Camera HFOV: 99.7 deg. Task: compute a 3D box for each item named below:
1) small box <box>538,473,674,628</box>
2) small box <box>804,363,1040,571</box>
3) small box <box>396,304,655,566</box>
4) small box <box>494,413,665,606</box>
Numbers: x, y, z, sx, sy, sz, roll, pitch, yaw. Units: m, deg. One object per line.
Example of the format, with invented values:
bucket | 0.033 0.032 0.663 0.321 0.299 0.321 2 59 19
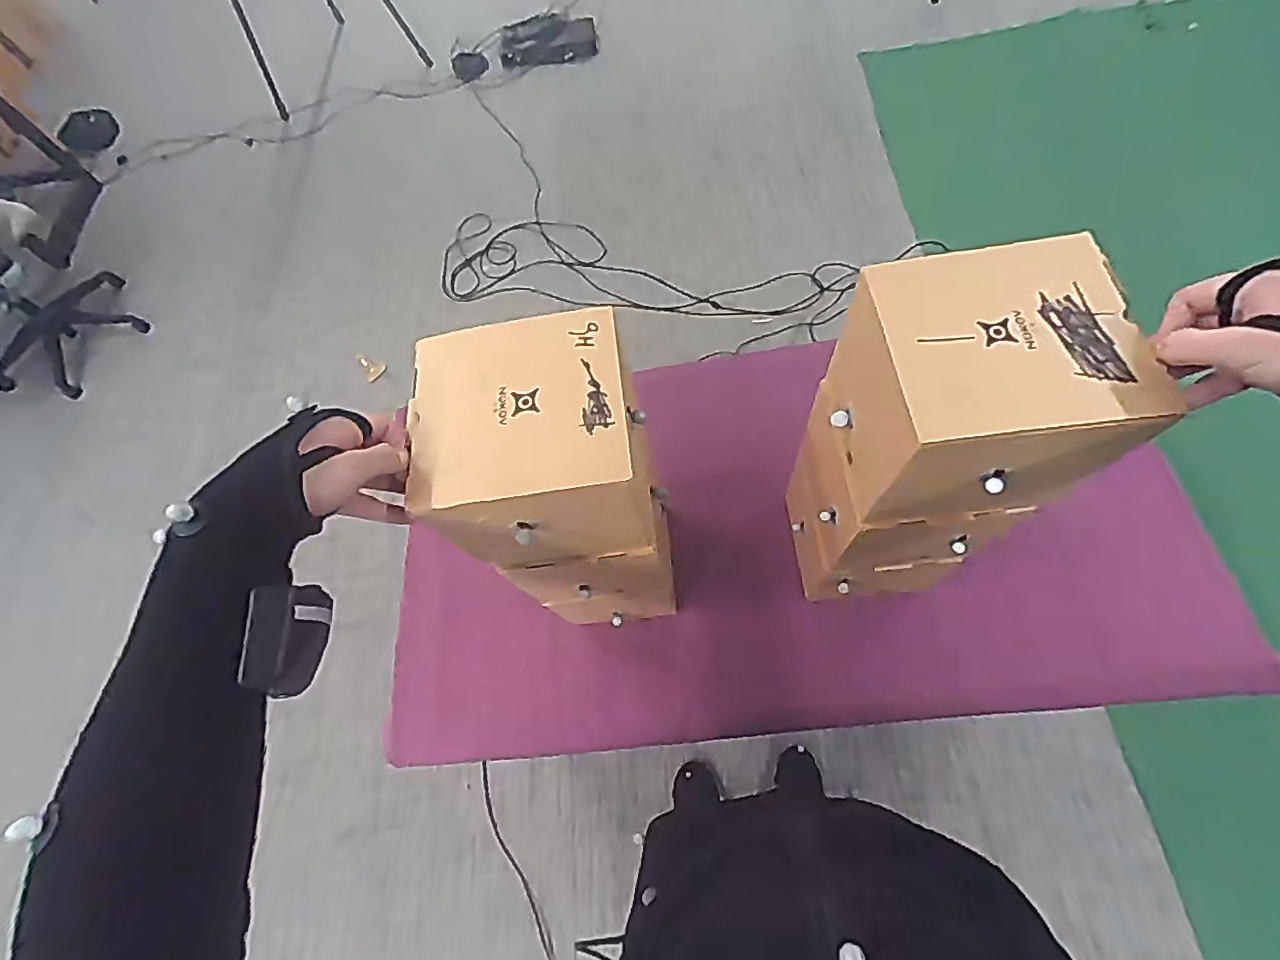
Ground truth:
small box | -0.043 0.108 0.786 0.168 0.176 0.179 -7 65 6
small box | 0.292 -0.002 0.607 0.168 0.176 0.179 -7 64 5
small box | -0.089 -0.028 0.492 0.179 0.176 0.168 -8 65 5
small box | -0.064 0.039 0.640 0.168 0.176 0.179 -8 66 4
